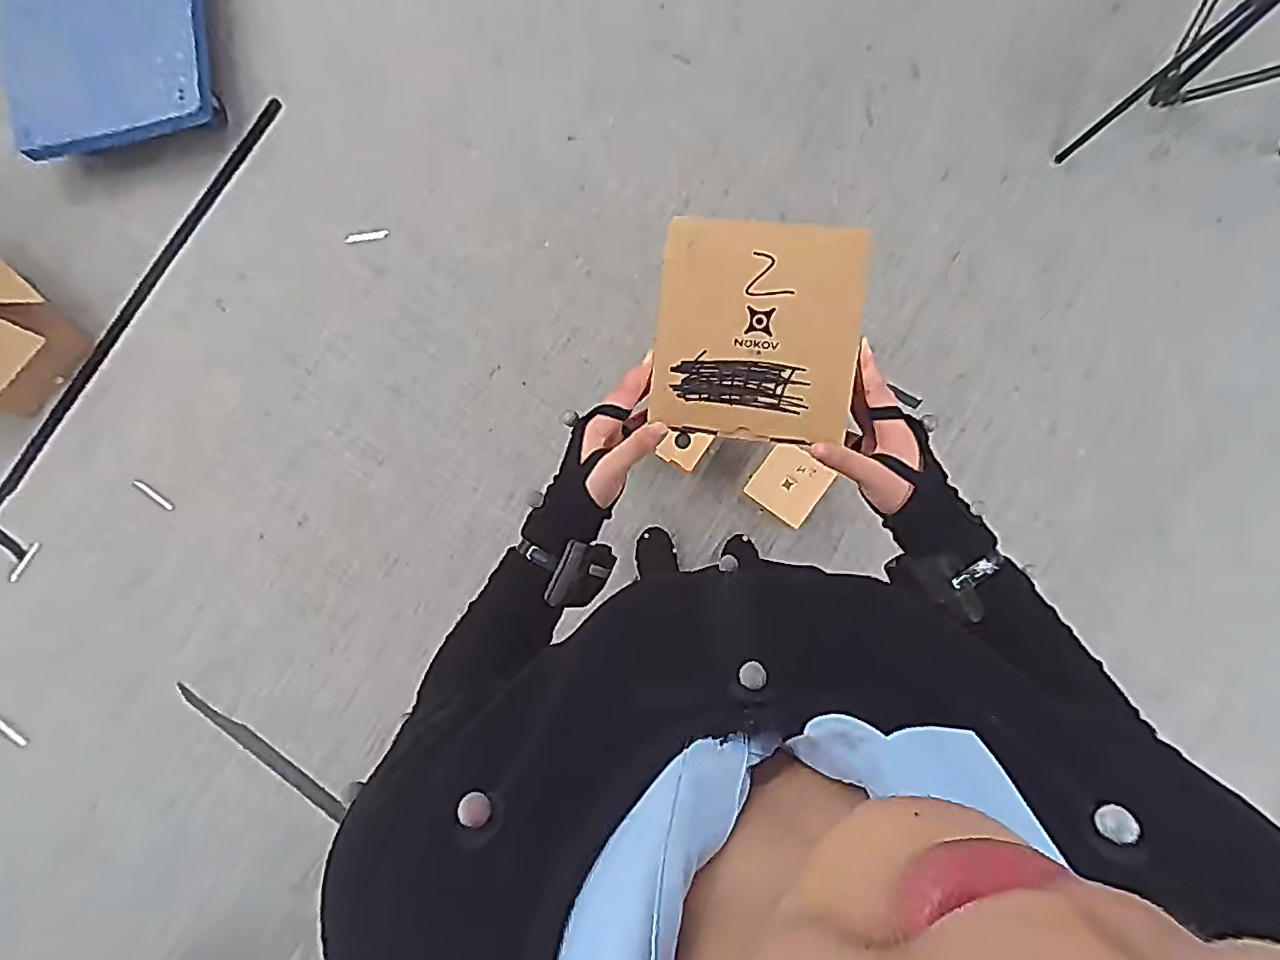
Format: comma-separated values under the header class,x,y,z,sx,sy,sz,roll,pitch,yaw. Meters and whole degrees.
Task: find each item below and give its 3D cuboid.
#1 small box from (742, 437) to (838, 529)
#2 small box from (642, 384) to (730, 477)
class,x,y,z,sx,sy,sz,roll,pitch,yaw
small box,0.383,0.014,1.417,0.168,0.176,0.179,37,88,6
small box,0.121,-0.125,1.452,0.168,0.176,0.179,34,88,7
